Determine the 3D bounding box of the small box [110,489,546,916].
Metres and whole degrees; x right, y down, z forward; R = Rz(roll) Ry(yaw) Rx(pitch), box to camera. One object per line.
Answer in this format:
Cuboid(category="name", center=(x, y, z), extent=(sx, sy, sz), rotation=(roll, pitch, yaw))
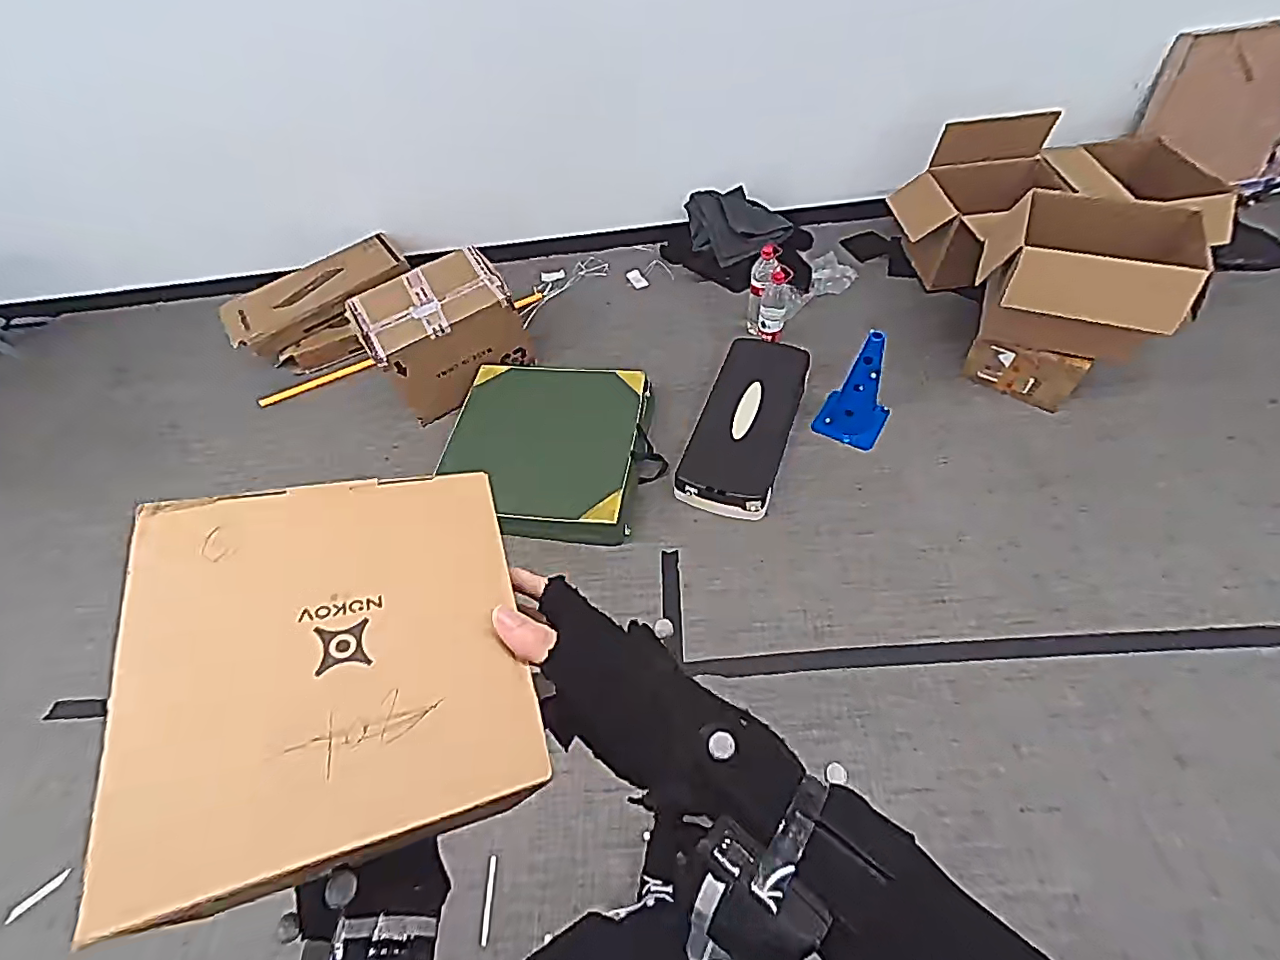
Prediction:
Cuboid(category="small box", center=(-0.167, 0.128, 0.331), extent=(0.168, 0.176, 0.179), rotation=(-6, 58, -24))
